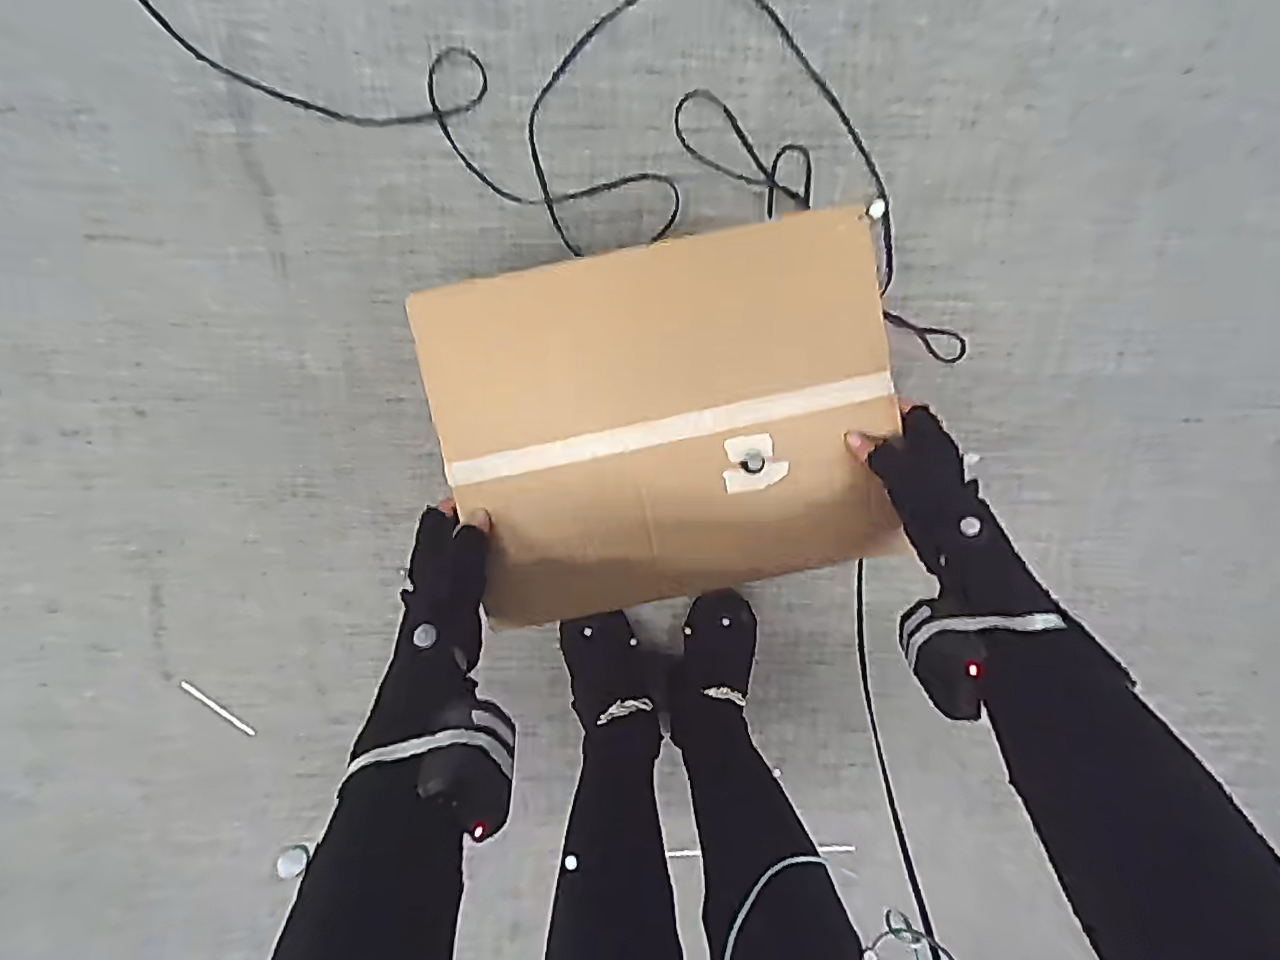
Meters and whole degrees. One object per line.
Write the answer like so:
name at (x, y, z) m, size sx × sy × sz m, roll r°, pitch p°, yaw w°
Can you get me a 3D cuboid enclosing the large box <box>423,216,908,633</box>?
large box at (0.025, -0.061, 0.642) m, size 0.408 × 0.320 × 0.320 m, roll -12°, pitch 98°, yaw -1°
